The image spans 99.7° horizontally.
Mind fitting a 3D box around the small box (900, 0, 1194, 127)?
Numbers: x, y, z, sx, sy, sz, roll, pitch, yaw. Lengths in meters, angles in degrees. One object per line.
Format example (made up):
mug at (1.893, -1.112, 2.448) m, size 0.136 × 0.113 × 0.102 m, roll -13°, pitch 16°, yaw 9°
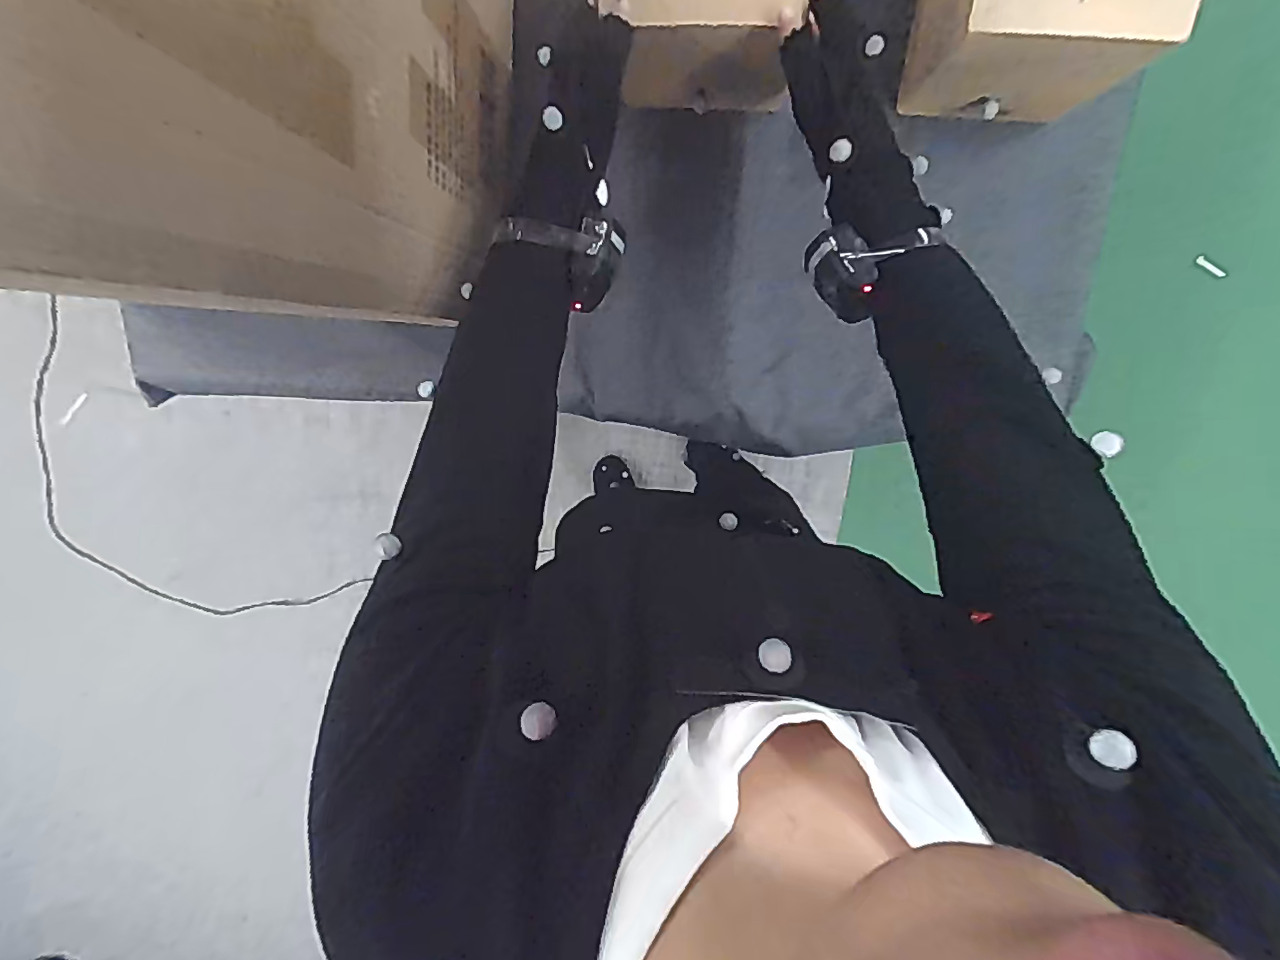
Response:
small box at (0.357, -0.452, 0.484) m, size 0.168 × 0.176 × 0.179 m, roll 7°, pitch 105°, yaw 4°
